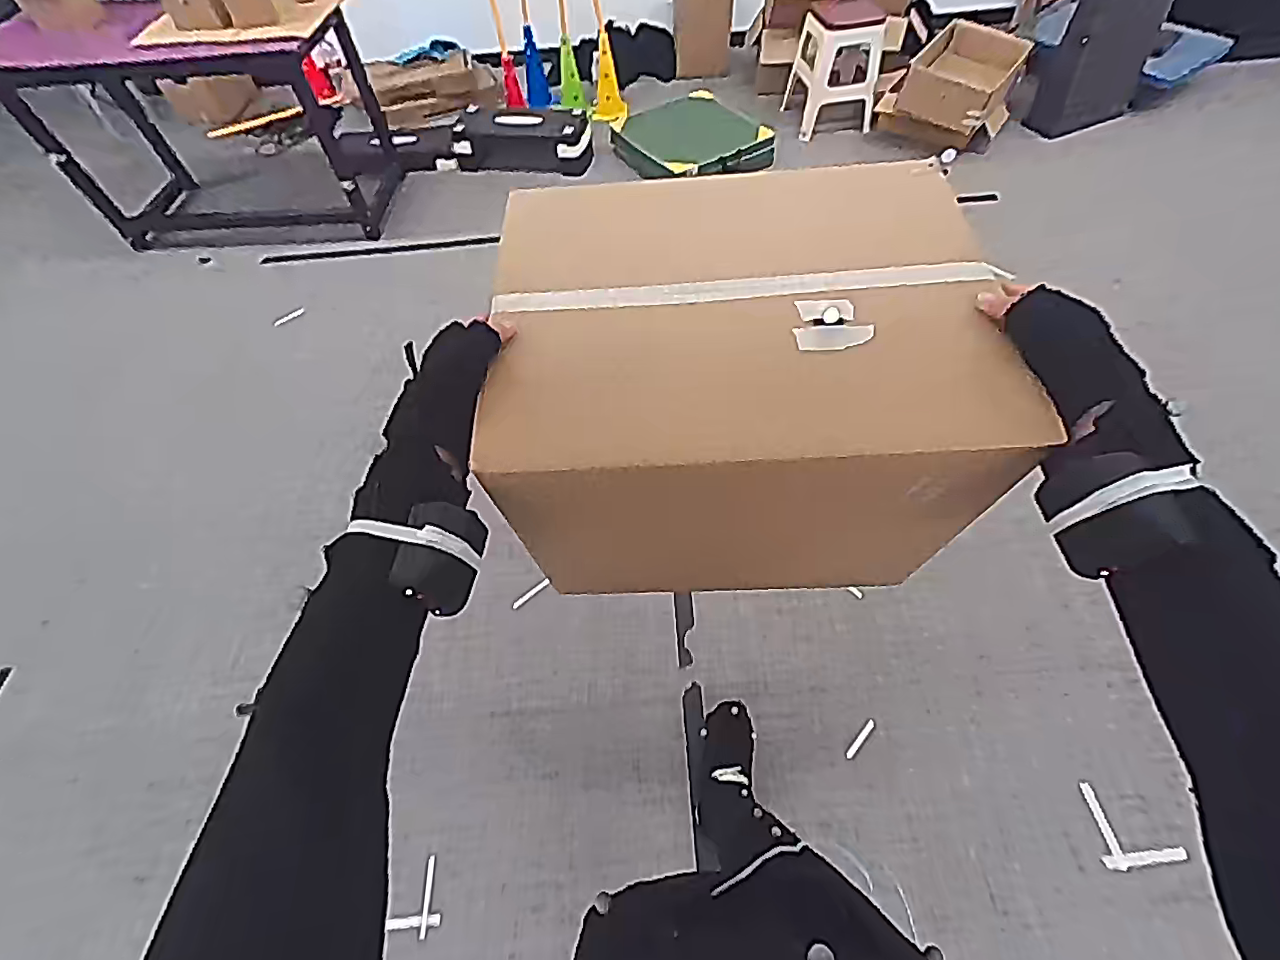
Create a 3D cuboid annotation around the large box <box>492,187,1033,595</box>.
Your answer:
[{"bbox_3d":[0.089,-0.072,0.594,0.408,0.320,0.320,-2,62,3],"label":"large box"}]
